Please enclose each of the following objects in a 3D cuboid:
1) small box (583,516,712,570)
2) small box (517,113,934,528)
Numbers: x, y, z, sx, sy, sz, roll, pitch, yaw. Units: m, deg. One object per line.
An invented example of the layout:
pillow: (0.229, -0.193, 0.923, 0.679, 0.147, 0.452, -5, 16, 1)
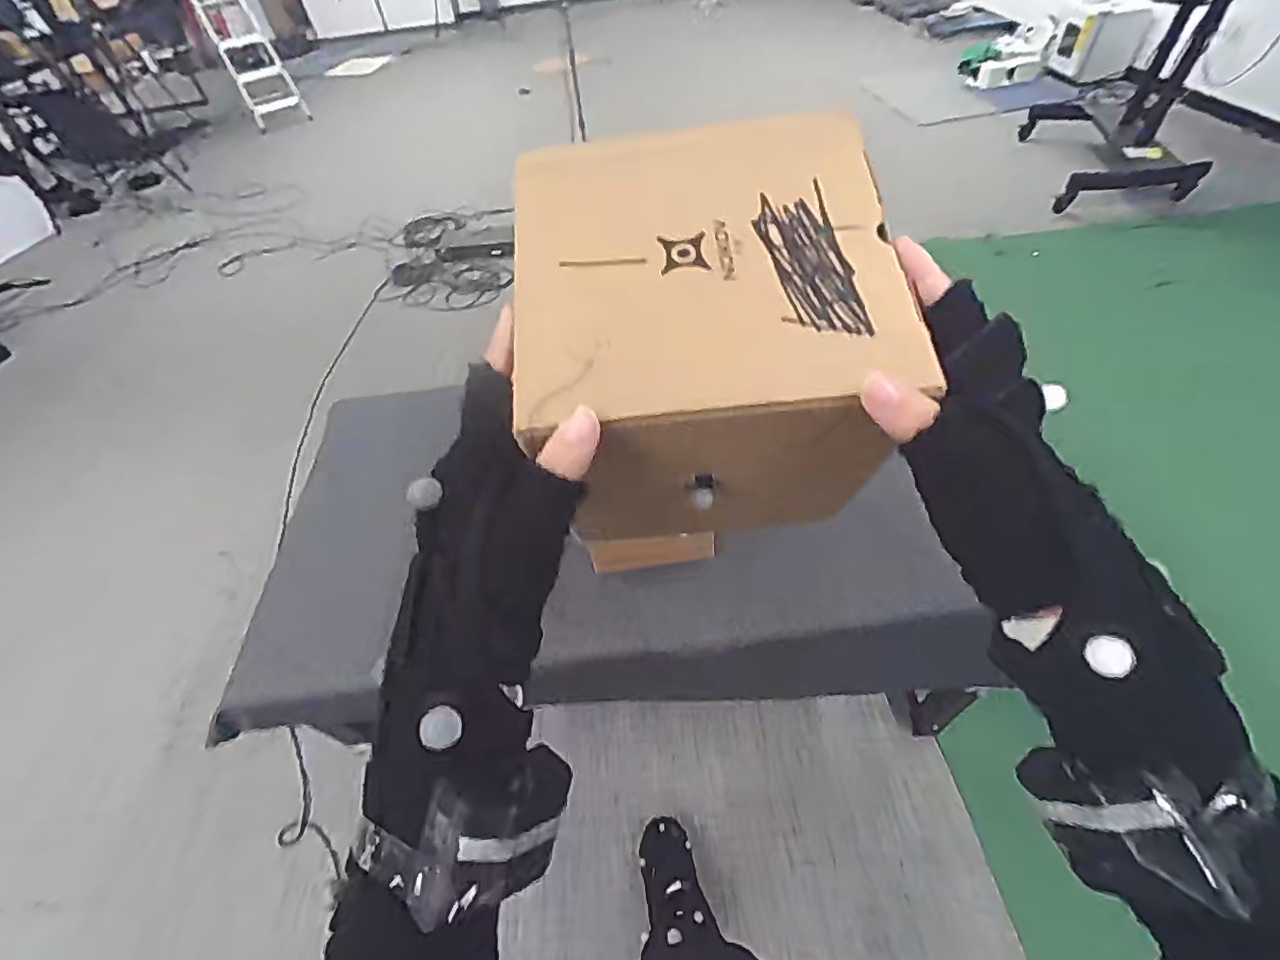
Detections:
small box: (0.007, 0.010, 0.786, 0.179, 0.176, 0.168, -9, 48, 0)
small box: (0.033, -0.079, 0.330, 0.179, 0.176, 0.168, -8, 68, -1)
